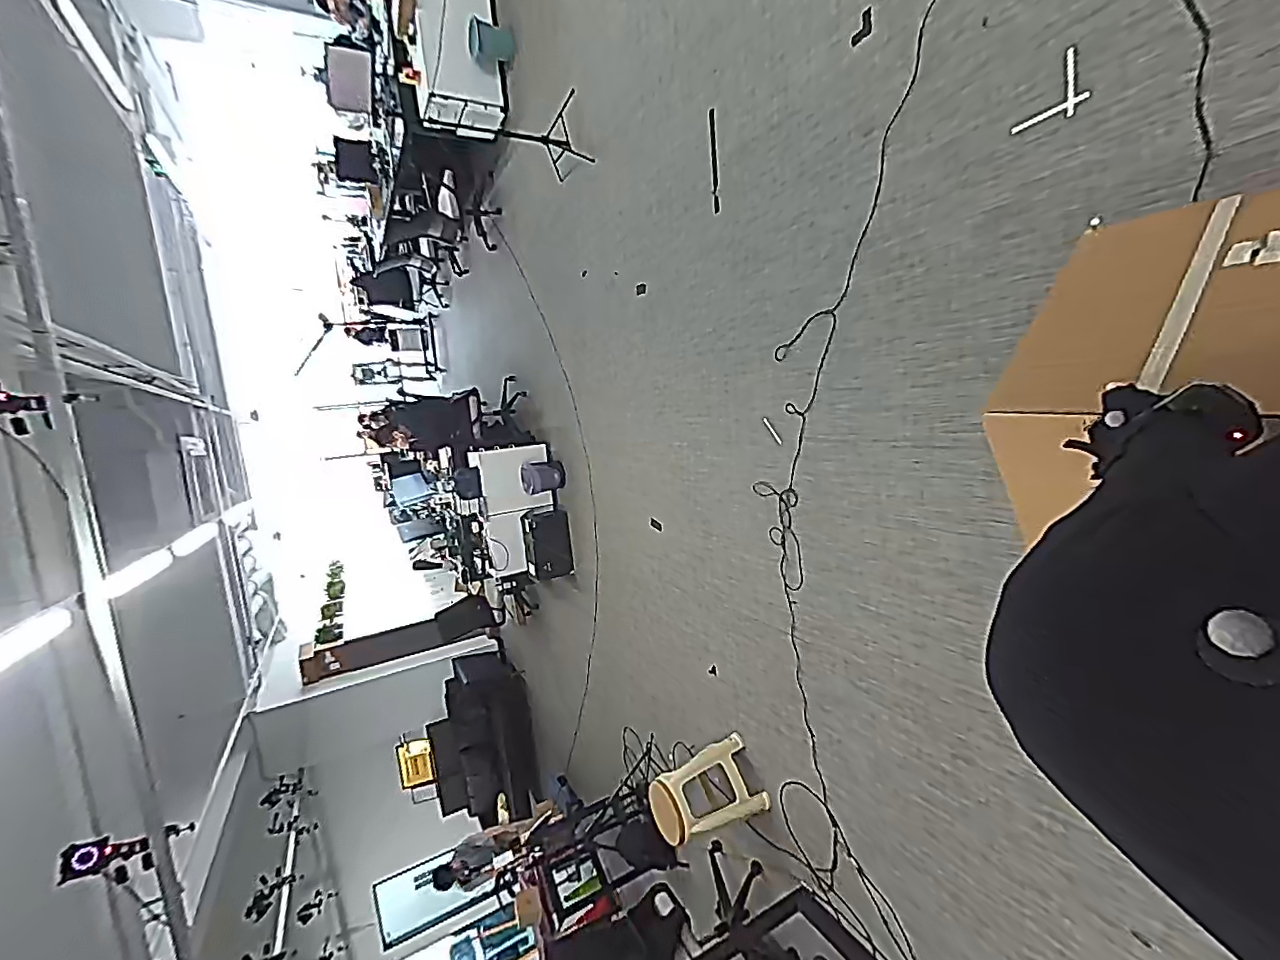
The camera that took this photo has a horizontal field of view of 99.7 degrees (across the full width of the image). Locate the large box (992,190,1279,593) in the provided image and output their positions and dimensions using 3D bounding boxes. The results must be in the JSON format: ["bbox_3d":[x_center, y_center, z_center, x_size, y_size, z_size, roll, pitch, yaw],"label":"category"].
[{"bbox_3d":[0.742,-0.115,0.716,0.320,0.408,0.320,13,148,54],"label":"large box"}]
